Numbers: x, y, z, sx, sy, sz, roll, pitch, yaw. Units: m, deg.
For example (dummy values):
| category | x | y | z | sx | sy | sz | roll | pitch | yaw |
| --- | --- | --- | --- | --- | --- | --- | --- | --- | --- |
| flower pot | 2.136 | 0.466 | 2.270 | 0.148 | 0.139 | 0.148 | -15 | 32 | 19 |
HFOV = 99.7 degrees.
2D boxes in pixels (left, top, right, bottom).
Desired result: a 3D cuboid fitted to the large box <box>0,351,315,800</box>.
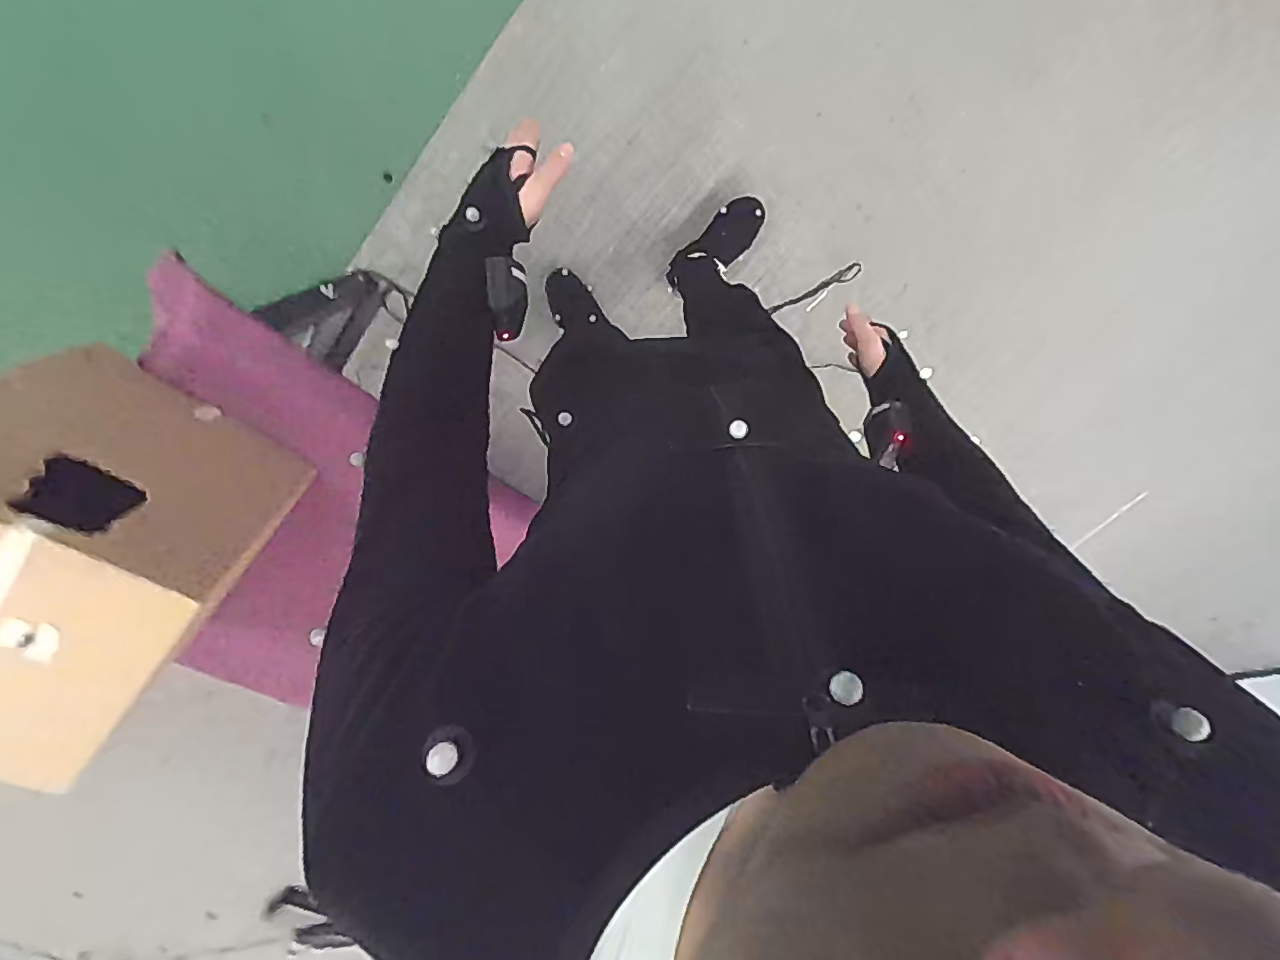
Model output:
| category | x | y | z | sx | sy | sz | roll | pitch | yaw |
| --- | --- | --- | --- | --- | --- | --- | --- | --- | --- |
| large box | -0.713 | 0.113 | 0.694 | 0.320 | 0.320 | 0.408 | 36 | 108 | -25 |
